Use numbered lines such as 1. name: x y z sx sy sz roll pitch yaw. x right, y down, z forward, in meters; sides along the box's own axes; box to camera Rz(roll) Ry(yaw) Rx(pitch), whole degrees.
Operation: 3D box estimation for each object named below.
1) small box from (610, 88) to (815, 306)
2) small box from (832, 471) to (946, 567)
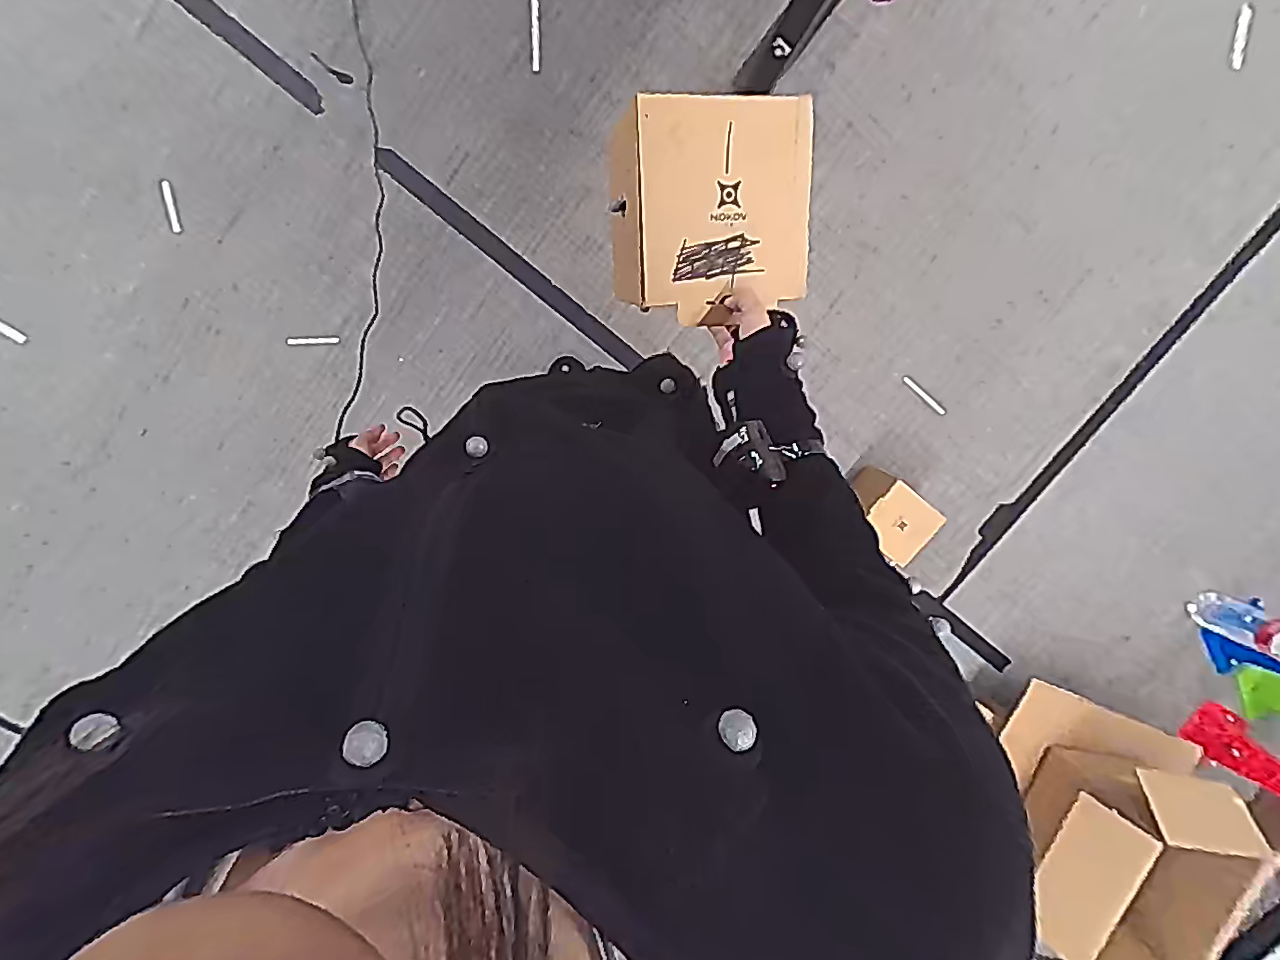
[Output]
1. small box: 0.063 -0.283 0.570 0.168 0.176 0.179 -6 111 -10
2. small box: 0.644 0.093 1.424 0.179 0.176 0.168 36 100 -12
